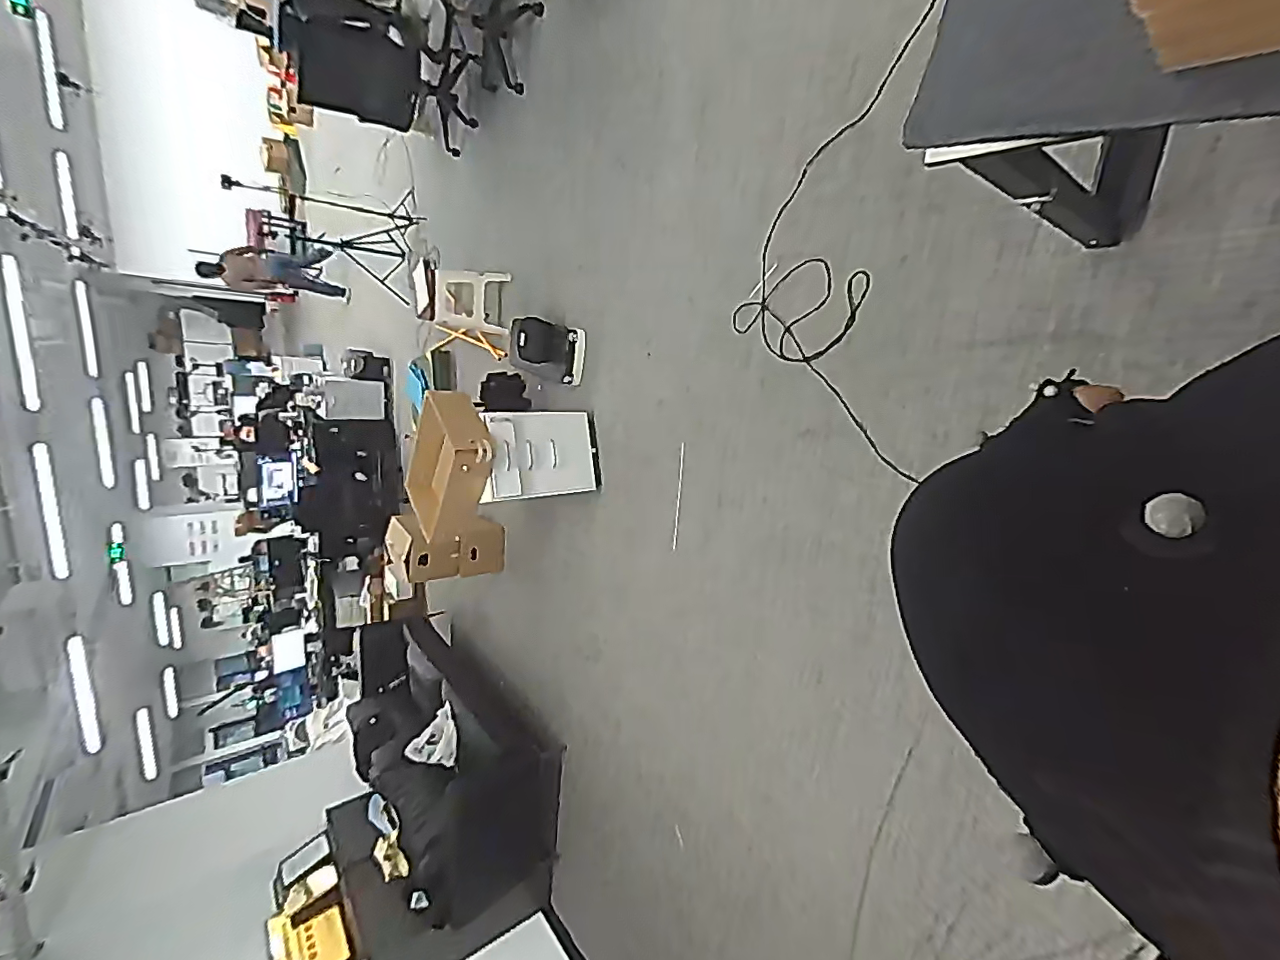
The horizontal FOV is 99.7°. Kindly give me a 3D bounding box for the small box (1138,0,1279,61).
[{"bbox_3d":[0.549,-0.475,0.427,0.179,0.176,0.168,26,115,48],"label":"small box"}]
